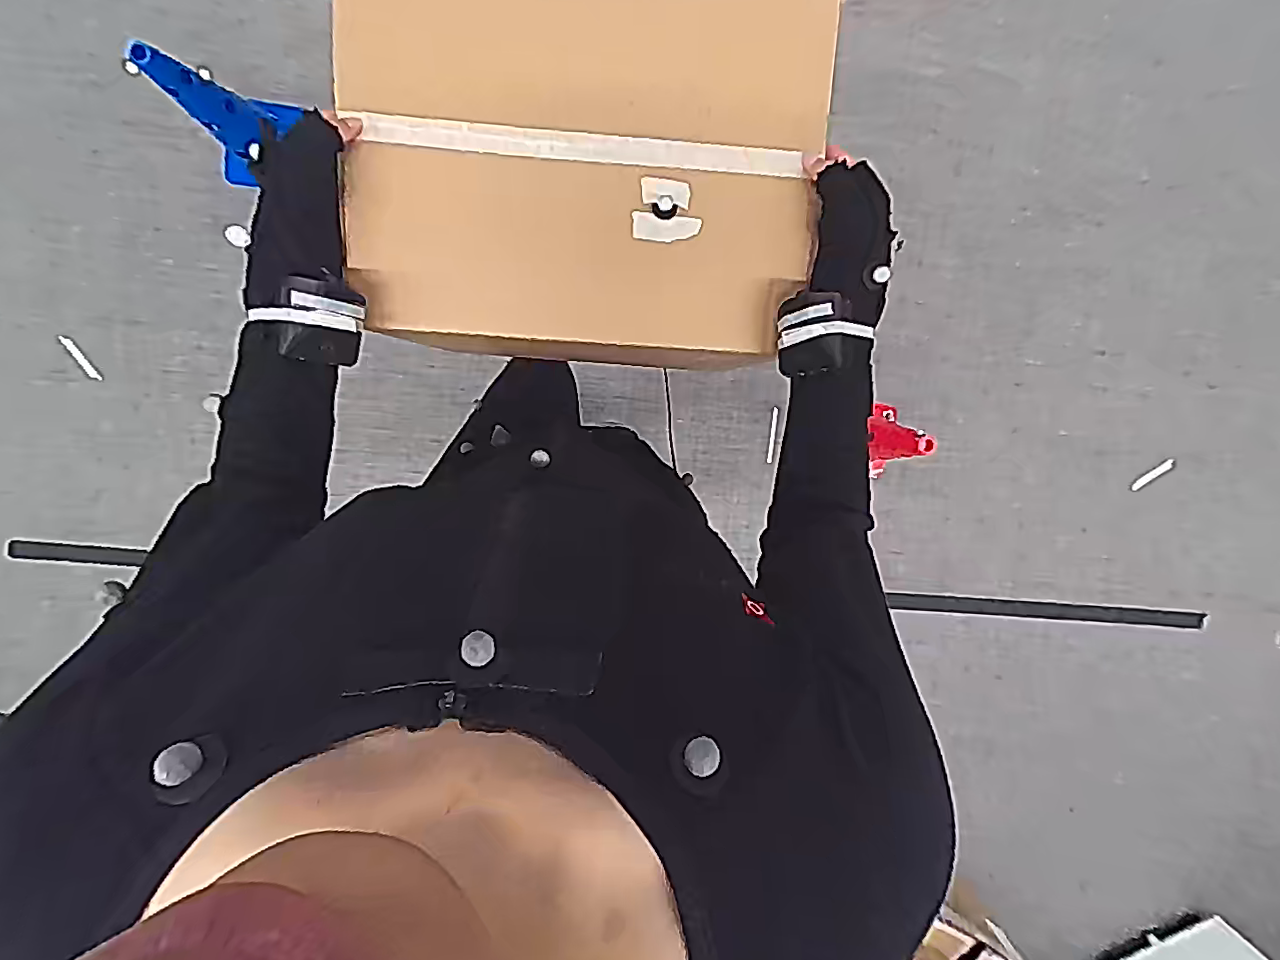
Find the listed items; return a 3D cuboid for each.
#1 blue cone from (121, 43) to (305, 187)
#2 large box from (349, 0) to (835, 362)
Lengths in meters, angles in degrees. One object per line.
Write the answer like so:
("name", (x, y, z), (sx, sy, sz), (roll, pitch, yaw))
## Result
("blue cone", (-0.920, -0.804, 1.168), (0.192, 0.380, 0.193), (8, 98, -2))
("large box", (-0.051, -0.306, 0.604), (0.408, 0.320, 0.320), (3, 99, -5))
